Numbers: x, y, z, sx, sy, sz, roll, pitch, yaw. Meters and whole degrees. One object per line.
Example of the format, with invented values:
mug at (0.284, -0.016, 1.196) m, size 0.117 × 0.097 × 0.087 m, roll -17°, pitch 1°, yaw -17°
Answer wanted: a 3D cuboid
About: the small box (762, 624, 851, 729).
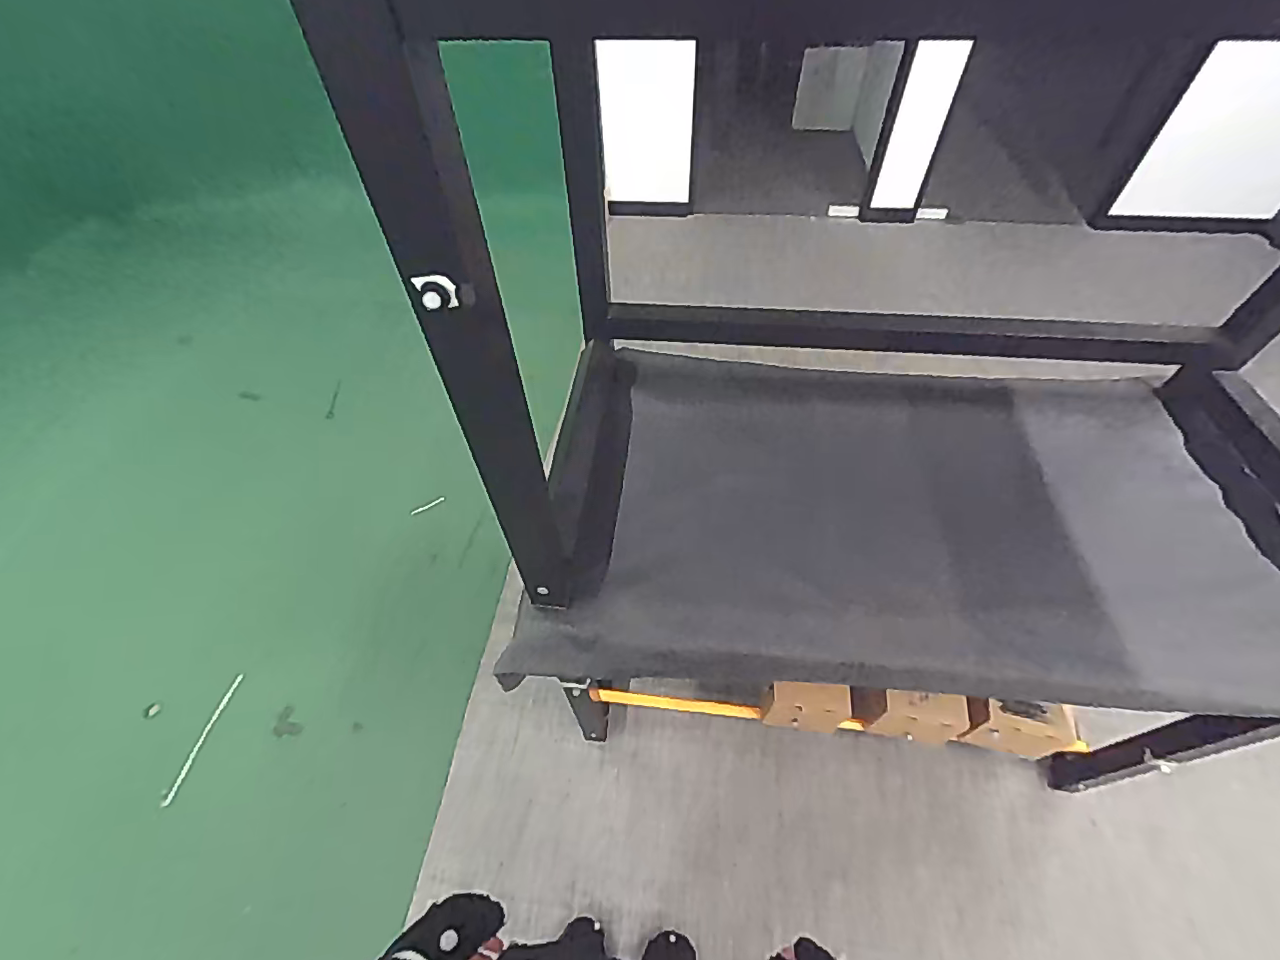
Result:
small box at (0.379, 0.459, 1.258) m, size 0.168 × 0.176 × 0.179 m, roll 6°, pitch 54°, yaw 6°
